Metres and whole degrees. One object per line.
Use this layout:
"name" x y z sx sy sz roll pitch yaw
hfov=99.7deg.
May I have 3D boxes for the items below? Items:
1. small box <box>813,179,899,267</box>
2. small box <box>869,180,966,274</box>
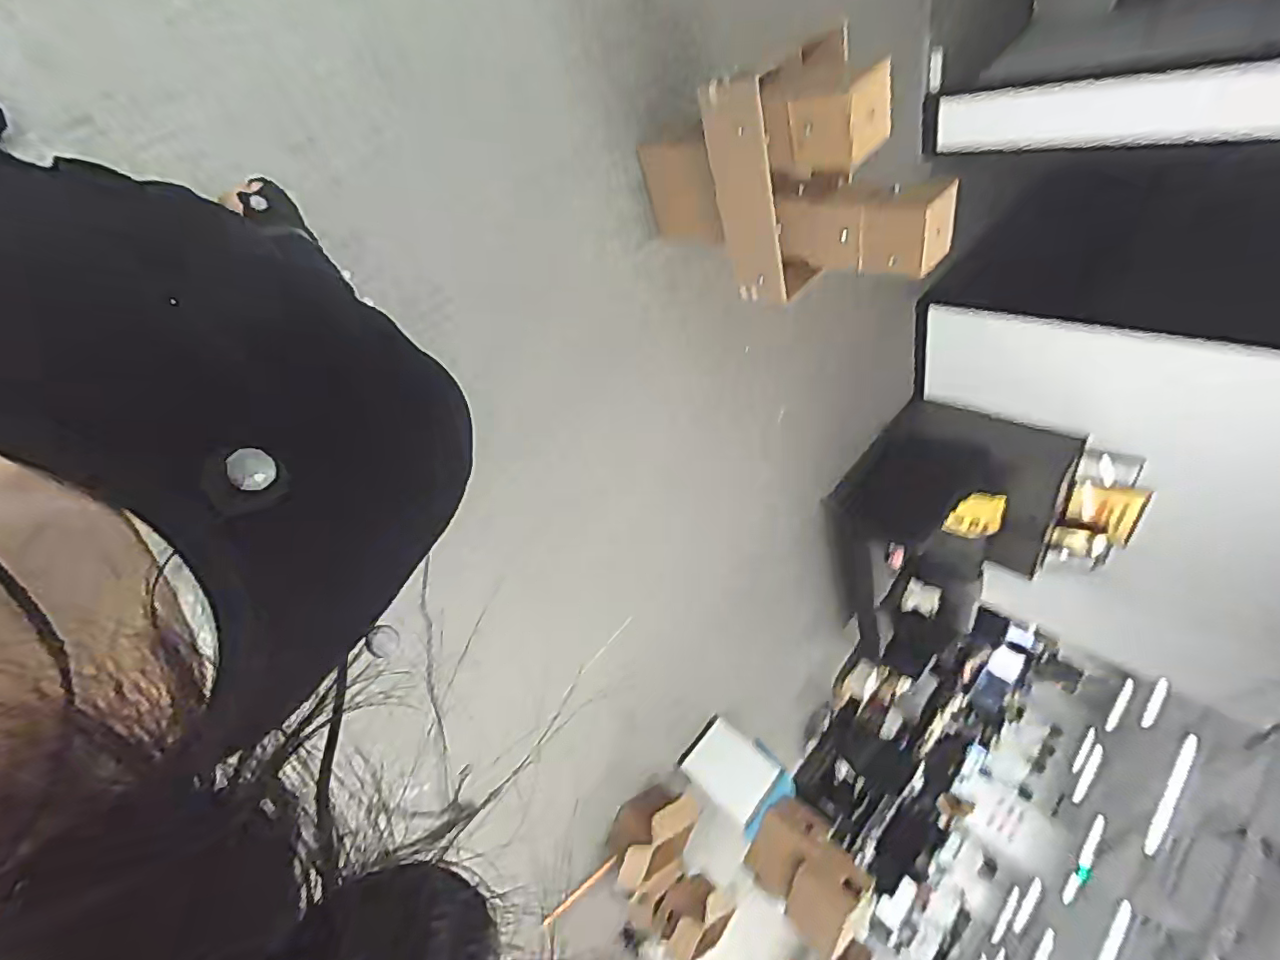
"small box" 0.601 -0.721 1.516 0.168 0.176 0.179 -41 135 -22
"small box" 0.718 -0.666 1.415 0.168 0.176 0.179 -42 135 -22
